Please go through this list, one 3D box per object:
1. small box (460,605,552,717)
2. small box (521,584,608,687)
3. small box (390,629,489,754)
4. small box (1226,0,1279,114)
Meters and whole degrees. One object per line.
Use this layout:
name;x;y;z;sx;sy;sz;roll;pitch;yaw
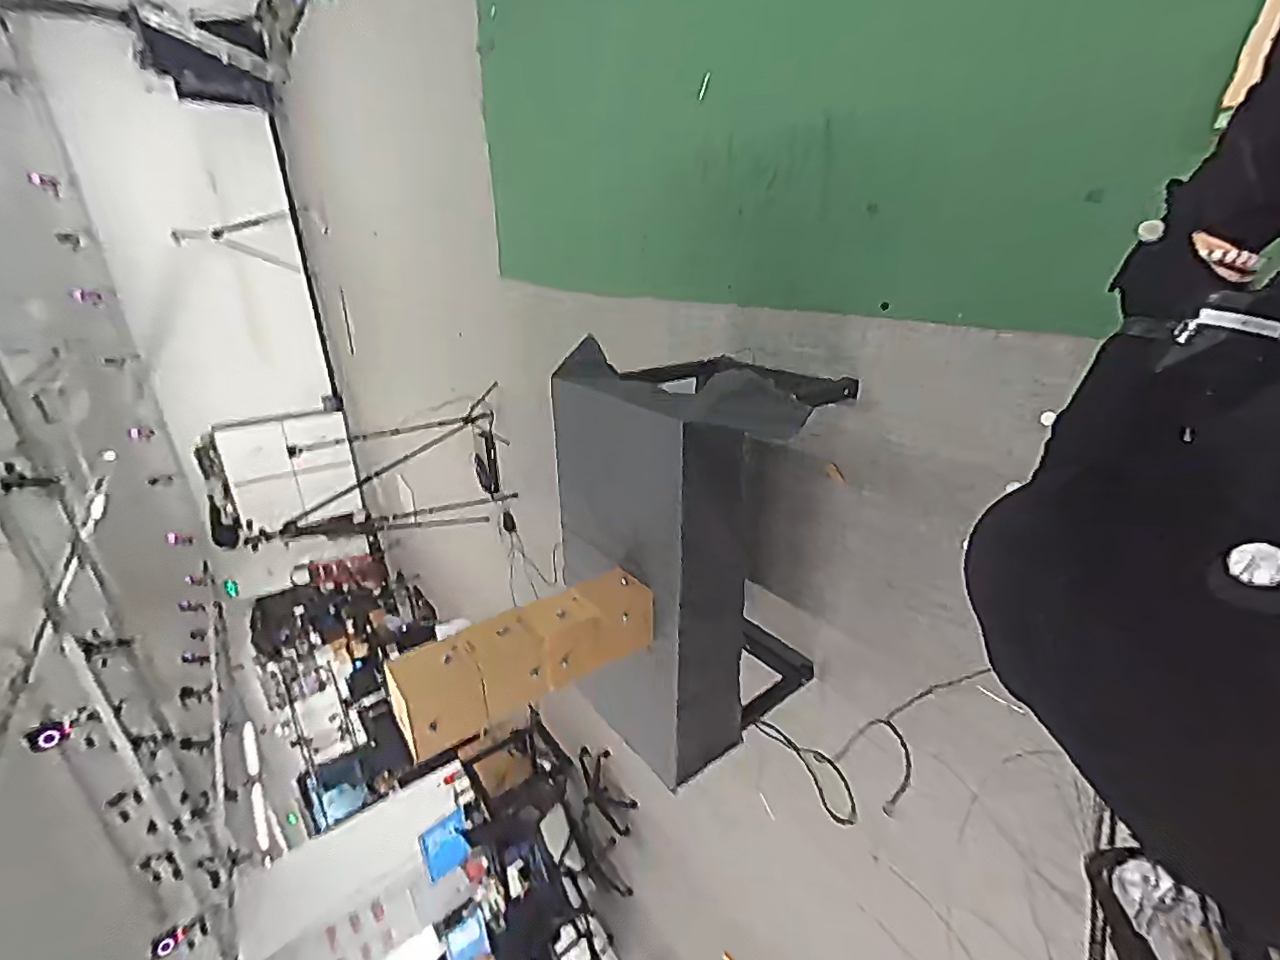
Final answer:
small box;-0.332;0.443;1.355;0.168;0.176;0.179;28;125;47
small box;-0.198;0.404;1.442;0.168;0.176;0.179;25;124;48
small box;-0.465;0.487;1.268;0.168;0.176;0.179;26;124;47
small box;1.048;-0.660;0.806;0.179;0.176;0.168;31;128;45
